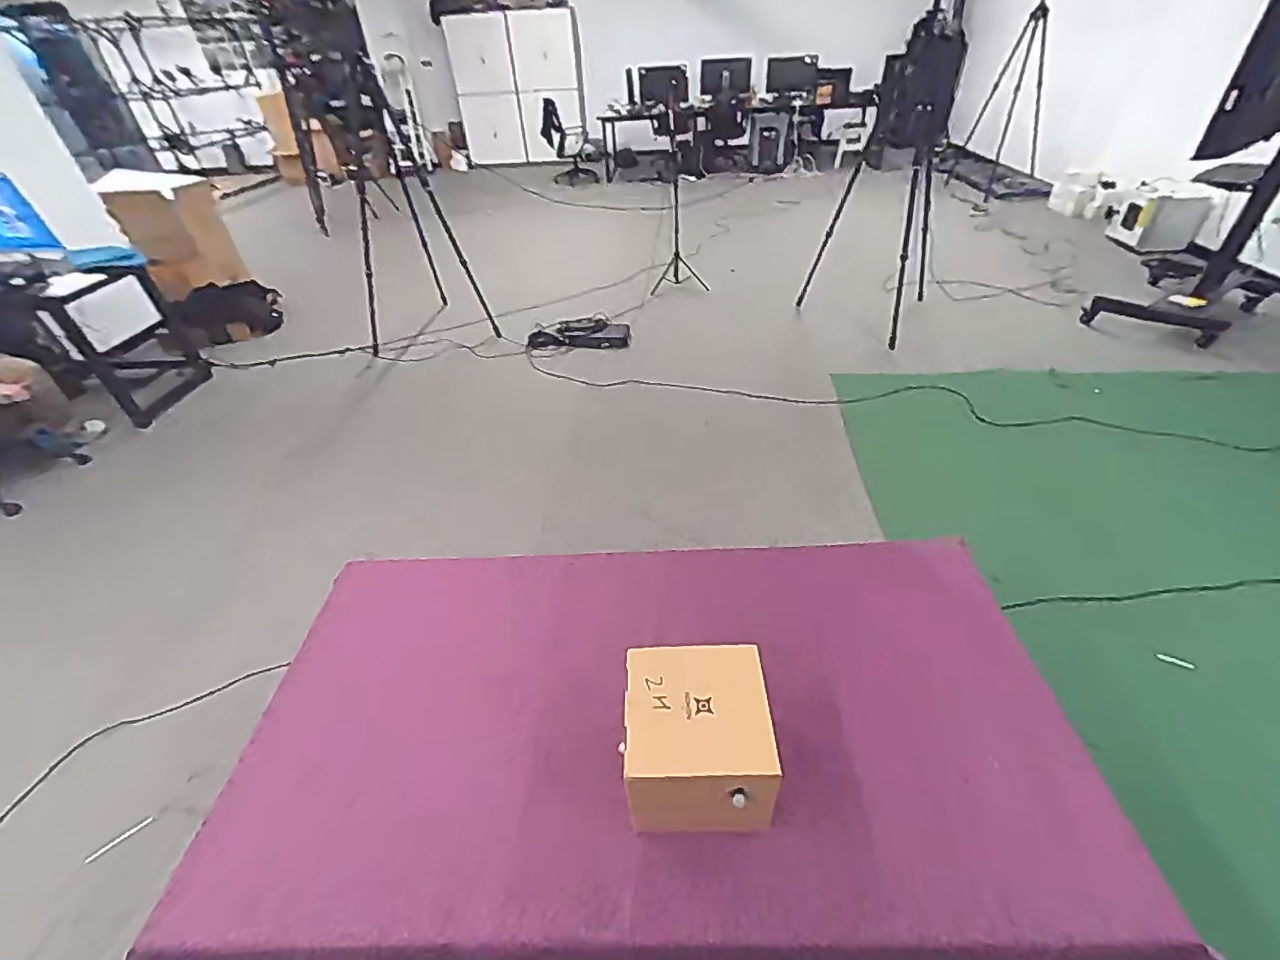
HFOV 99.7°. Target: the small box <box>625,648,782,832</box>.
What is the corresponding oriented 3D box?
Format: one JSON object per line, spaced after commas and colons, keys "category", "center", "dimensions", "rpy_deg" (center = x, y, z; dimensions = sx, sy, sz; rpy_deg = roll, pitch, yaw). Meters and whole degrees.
{"category": "small box", "center": [0.075, 0.339, 0.707], "dimensions": [0.179, 0.176, 0.168], "rpy_deg": [-3, 39, 2]}
